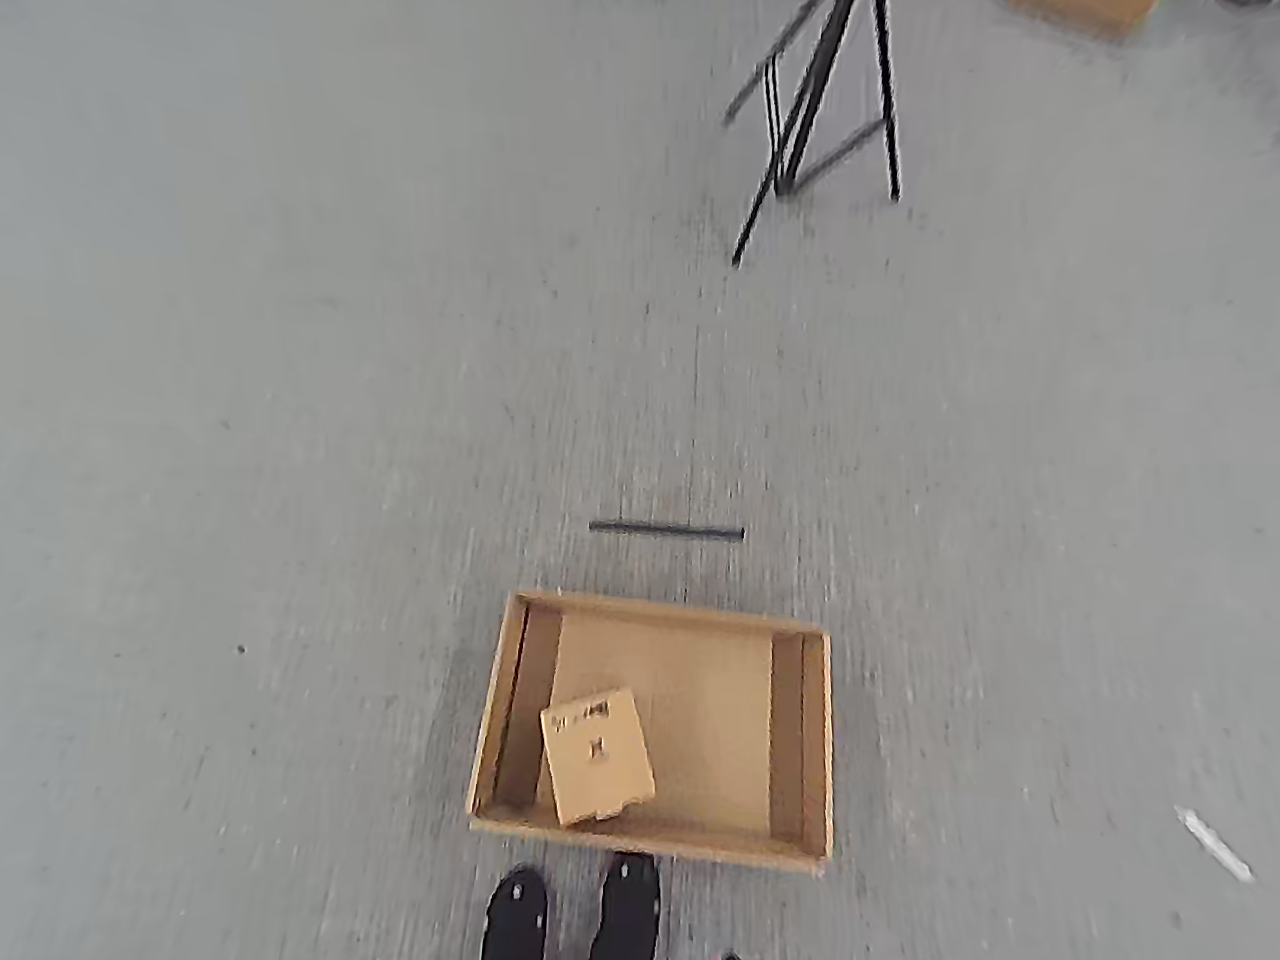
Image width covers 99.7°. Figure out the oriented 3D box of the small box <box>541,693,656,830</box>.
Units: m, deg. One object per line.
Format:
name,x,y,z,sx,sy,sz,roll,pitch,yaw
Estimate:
small box,-0.074,0.495,0.977,0.168,0.176,0.179,-12,68,-9
